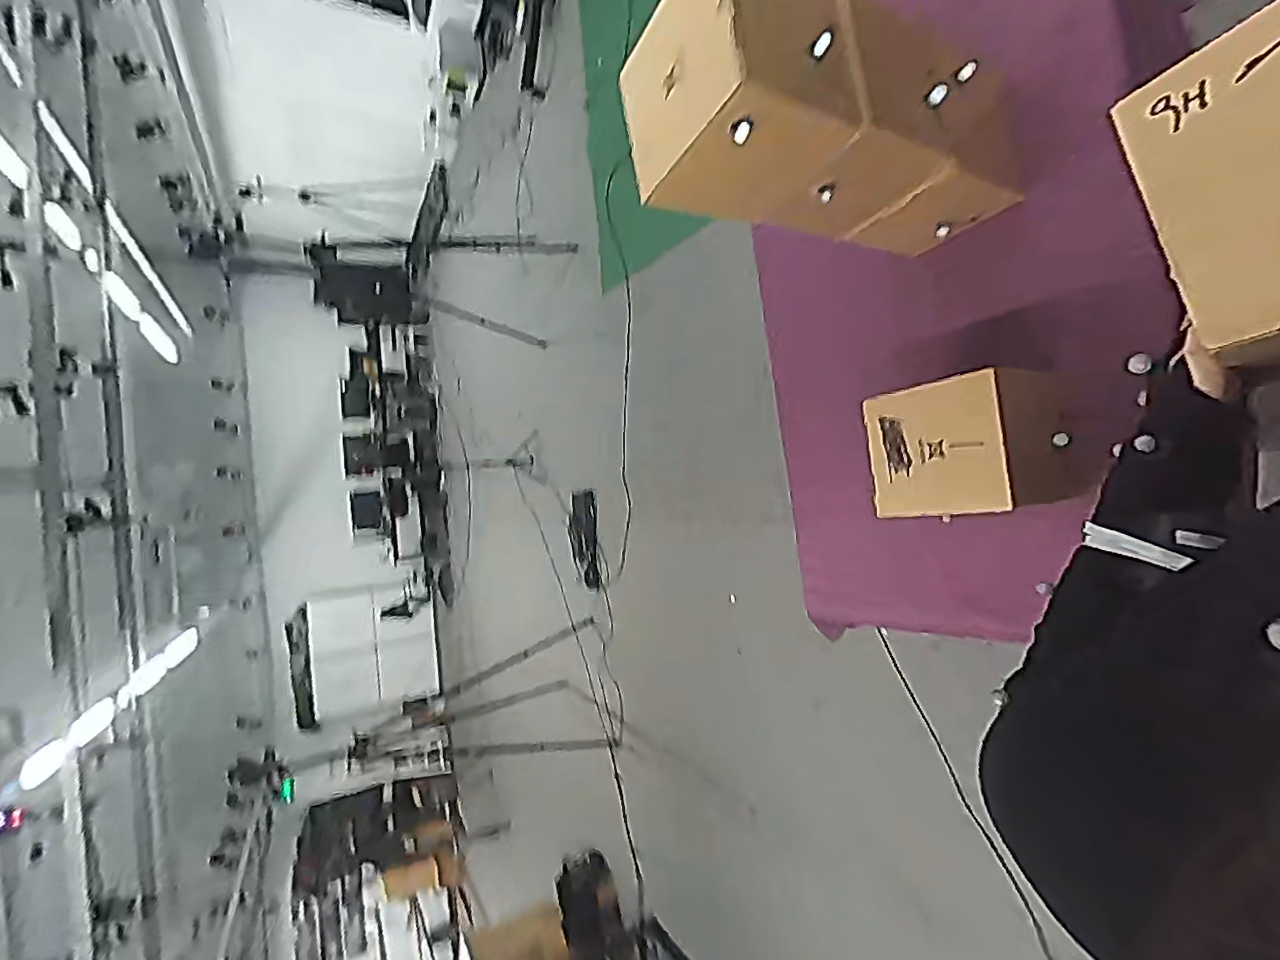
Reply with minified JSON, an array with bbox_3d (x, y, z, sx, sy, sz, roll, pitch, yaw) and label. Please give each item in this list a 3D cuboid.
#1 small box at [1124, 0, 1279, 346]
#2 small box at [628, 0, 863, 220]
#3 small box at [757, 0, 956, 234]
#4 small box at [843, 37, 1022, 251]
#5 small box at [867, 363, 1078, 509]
[{"bbox_3d":[0.438,-0.189,0.318,0.168,0.176,0.179,-21,76,55],"label":"small box"},{"bbox_3d":[0.109,-0.416,0.595,0.179,0.176,0.168,-21,77,58],"label":"small box"},{"bbox_3d":[0.251,-0.432,0.672,0.179,0.176,0.168,-16,81,59],"label":"small box"},{"bbox_3d":[0.392,-0.446,0.752,0.168,0.176,0.179,-15,82,60],"label":"small box"},{"bbox_3d":[0.442,-0.051,0.729,0.179,0.176,0.168,-11,85,59],"label":"small box"}]
